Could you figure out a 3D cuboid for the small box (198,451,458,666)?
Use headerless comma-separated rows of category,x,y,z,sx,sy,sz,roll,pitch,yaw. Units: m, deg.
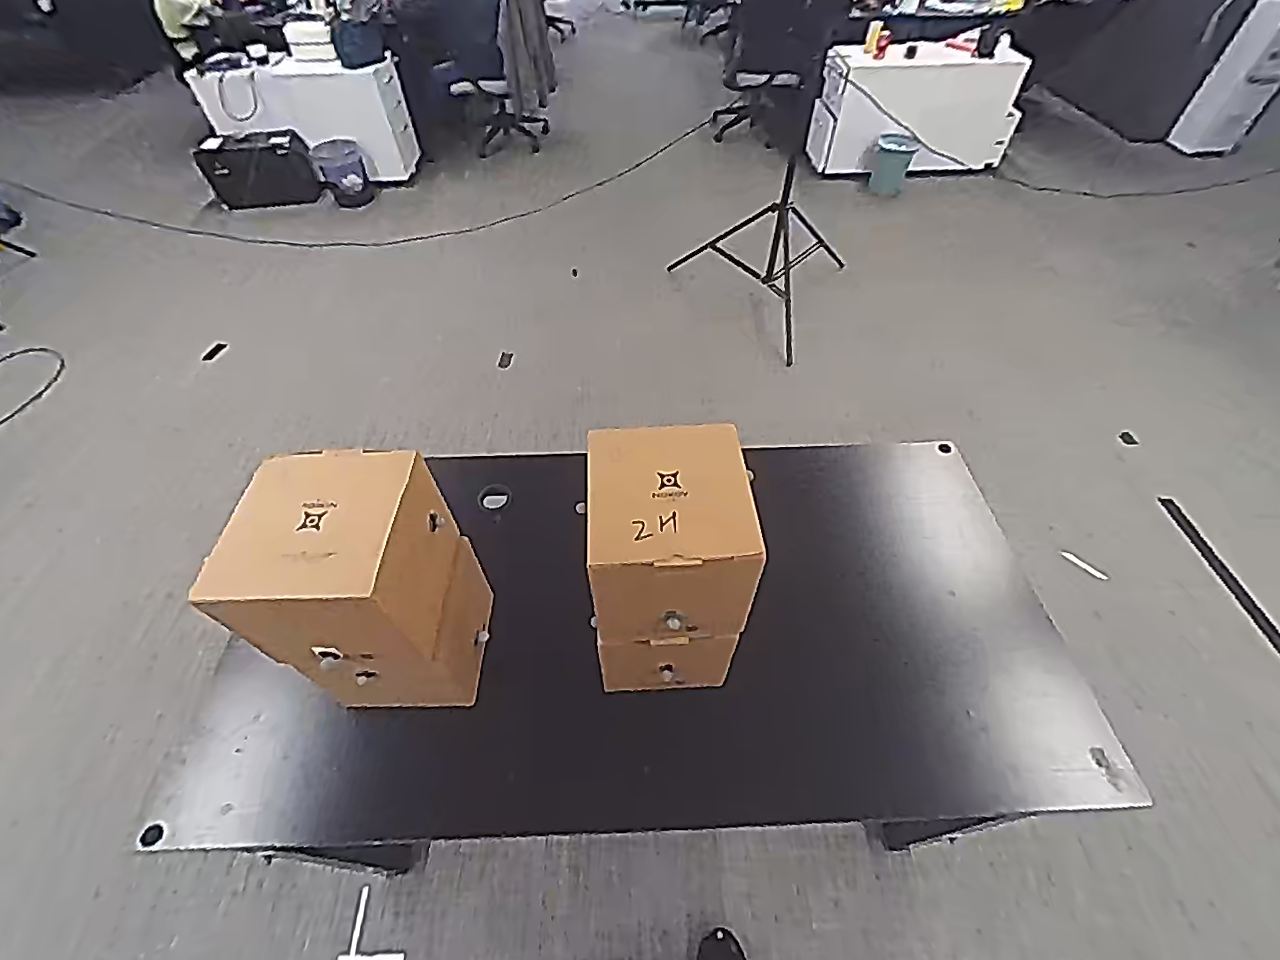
small box,-0.313,0.088,0.594,0.168,0.176,0.179,-2,52,0

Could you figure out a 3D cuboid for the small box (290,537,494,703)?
small box,-0.310,0.190,0.721,0.179,0.176,0.168,0,51,-1

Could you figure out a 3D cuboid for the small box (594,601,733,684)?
small box,0.027,0.168,0.738,0.168,0.176,0.179,-3,51,-1

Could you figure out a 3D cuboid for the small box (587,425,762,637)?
small box,0.029,0.059,0.613,0.168,0.176,0.179,-3,50,-1
